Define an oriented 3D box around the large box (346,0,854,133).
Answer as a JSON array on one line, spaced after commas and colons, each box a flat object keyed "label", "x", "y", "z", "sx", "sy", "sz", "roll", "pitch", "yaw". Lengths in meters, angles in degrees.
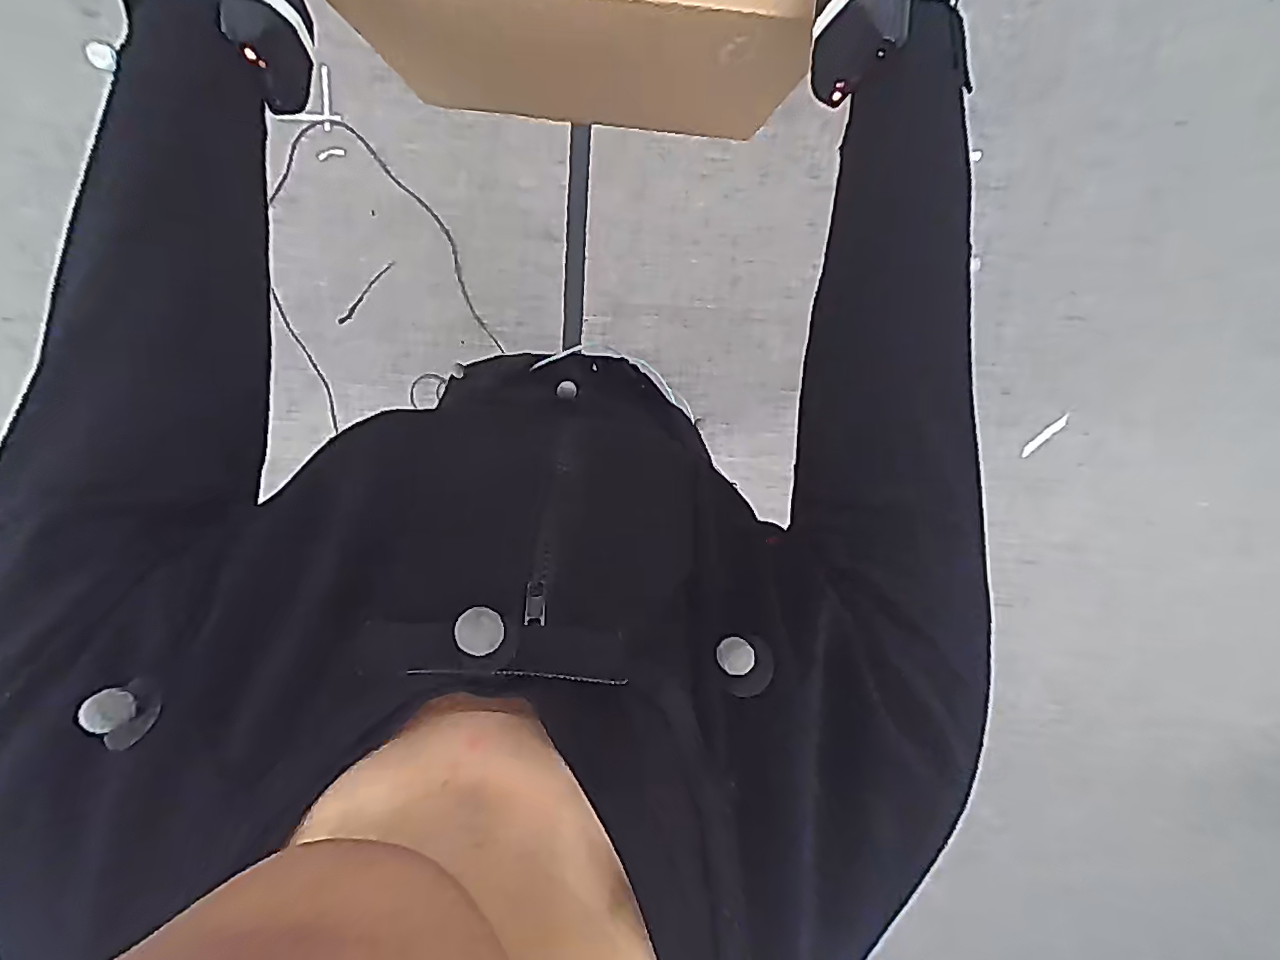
[{"label": "large box", "x": -0.039, "y": -0.544, "z": 0.484, "sx": 0.408, "sy": 0.320, "sz": 0.320, "roll": 3, "pitch": 109, "yaw": -5}]
